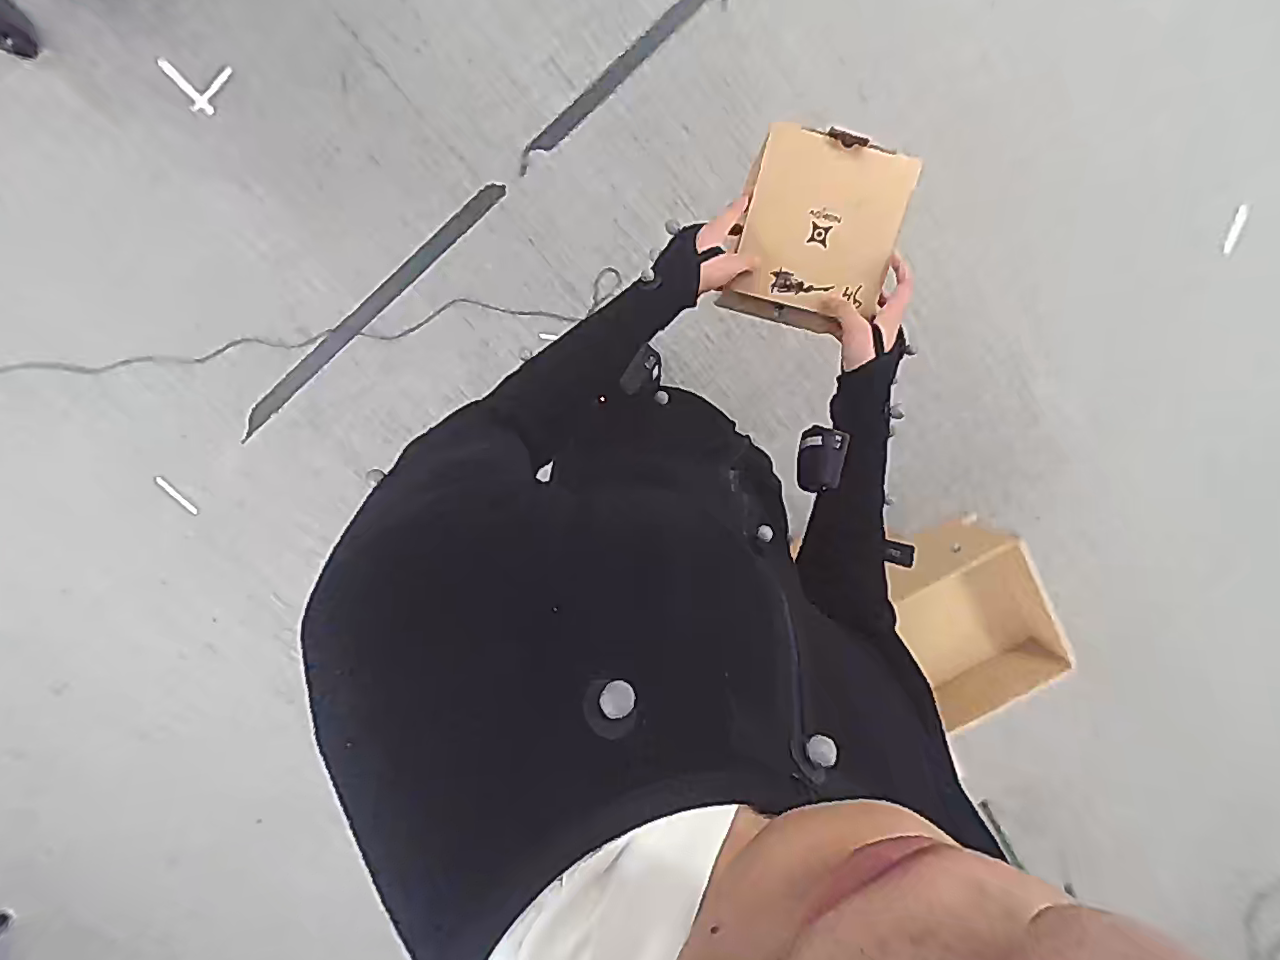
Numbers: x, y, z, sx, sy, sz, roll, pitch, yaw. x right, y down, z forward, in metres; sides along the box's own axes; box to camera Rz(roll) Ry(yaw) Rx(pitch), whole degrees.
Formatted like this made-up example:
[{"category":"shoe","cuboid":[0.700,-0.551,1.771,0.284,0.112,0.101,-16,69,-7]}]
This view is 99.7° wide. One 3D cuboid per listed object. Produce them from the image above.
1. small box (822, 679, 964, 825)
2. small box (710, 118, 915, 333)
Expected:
[{"category":"small box","cuboid":[0.512,0.550,1.116,0.179,0.176,0.168,-34,104,6]},{"category":"small box","cuboid":[0.188,-0.286,0.650,0.168,0.176,0.179,14,102,-1]}]
